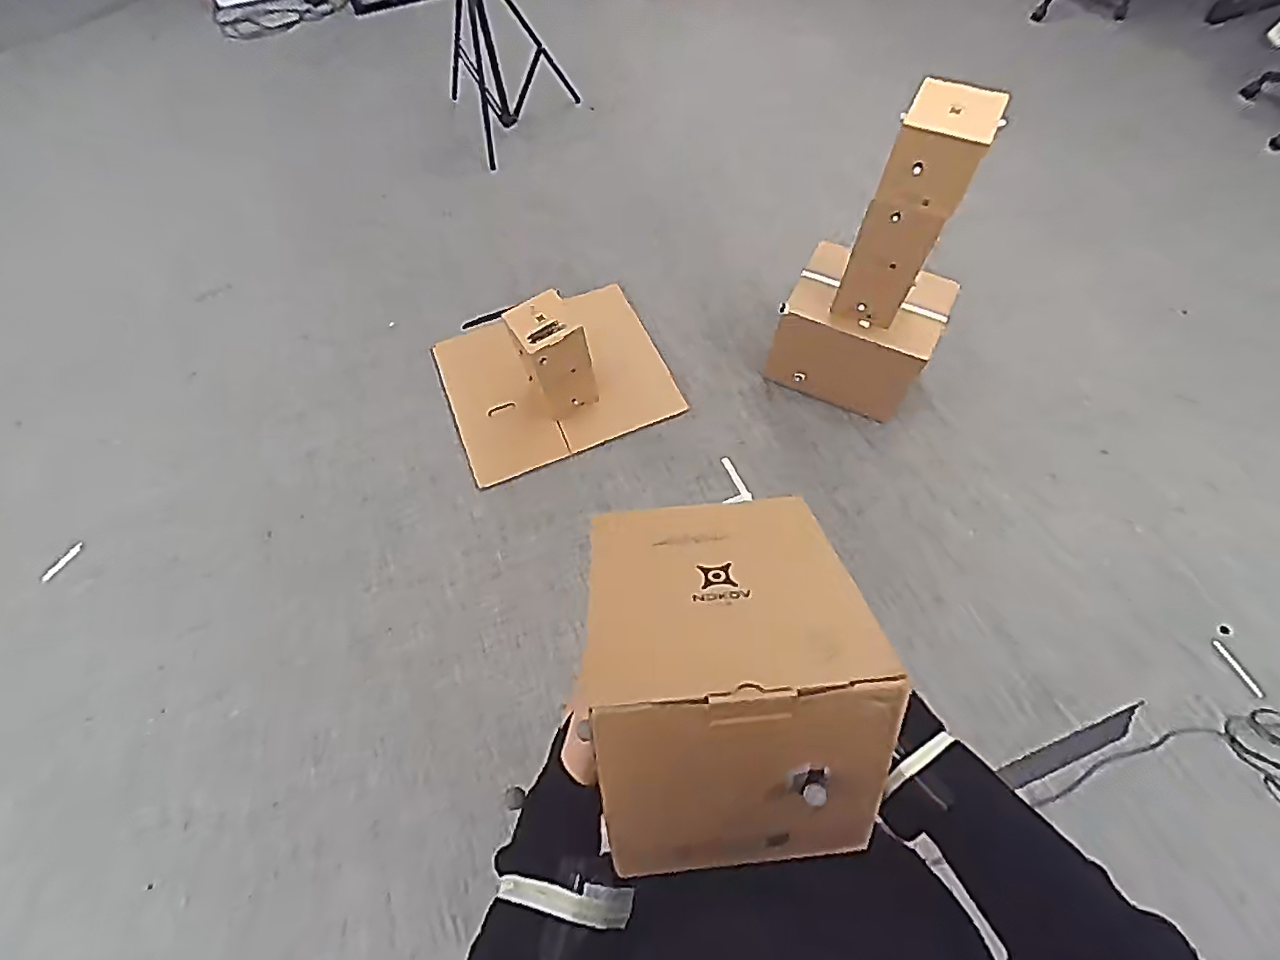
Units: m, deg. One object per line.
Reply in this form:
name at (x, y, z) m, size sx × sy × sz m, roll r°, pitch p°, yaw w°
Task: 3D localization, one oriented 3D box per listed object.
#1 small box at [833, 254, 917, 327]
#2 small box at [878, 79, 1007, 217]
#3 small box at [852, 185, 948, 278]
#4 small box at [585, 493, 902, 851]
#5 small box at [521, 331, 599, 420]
small box at (0.627, -0.538, 1.417) m, size 0.168 × 0.176 × 0.179 m, roll 24°, pitch 67°, yaw 14°
small box at (0.617, -0.684, 1.124) m, size 0.168 × 0.176 × 0.179 m, roll 24°, pitch 67°, yaw 14°
small box at (0.622, -0.614, 1.272) m, size 0.168 × 0.176 × 0.179 m, roll 24°, pitch 66°, yaw 14°
small box at (0.054, 0.130, 0.382) m, size 0.168 × 0.176 × 0.179 m, roll -5°, pitch 29°, yaw -2°
small box at (-0.246, -0.321, 1.684) m, size 0.168 × 0.176 × 0.179 m, roll -30°, pitch 66°, yaw -9°
